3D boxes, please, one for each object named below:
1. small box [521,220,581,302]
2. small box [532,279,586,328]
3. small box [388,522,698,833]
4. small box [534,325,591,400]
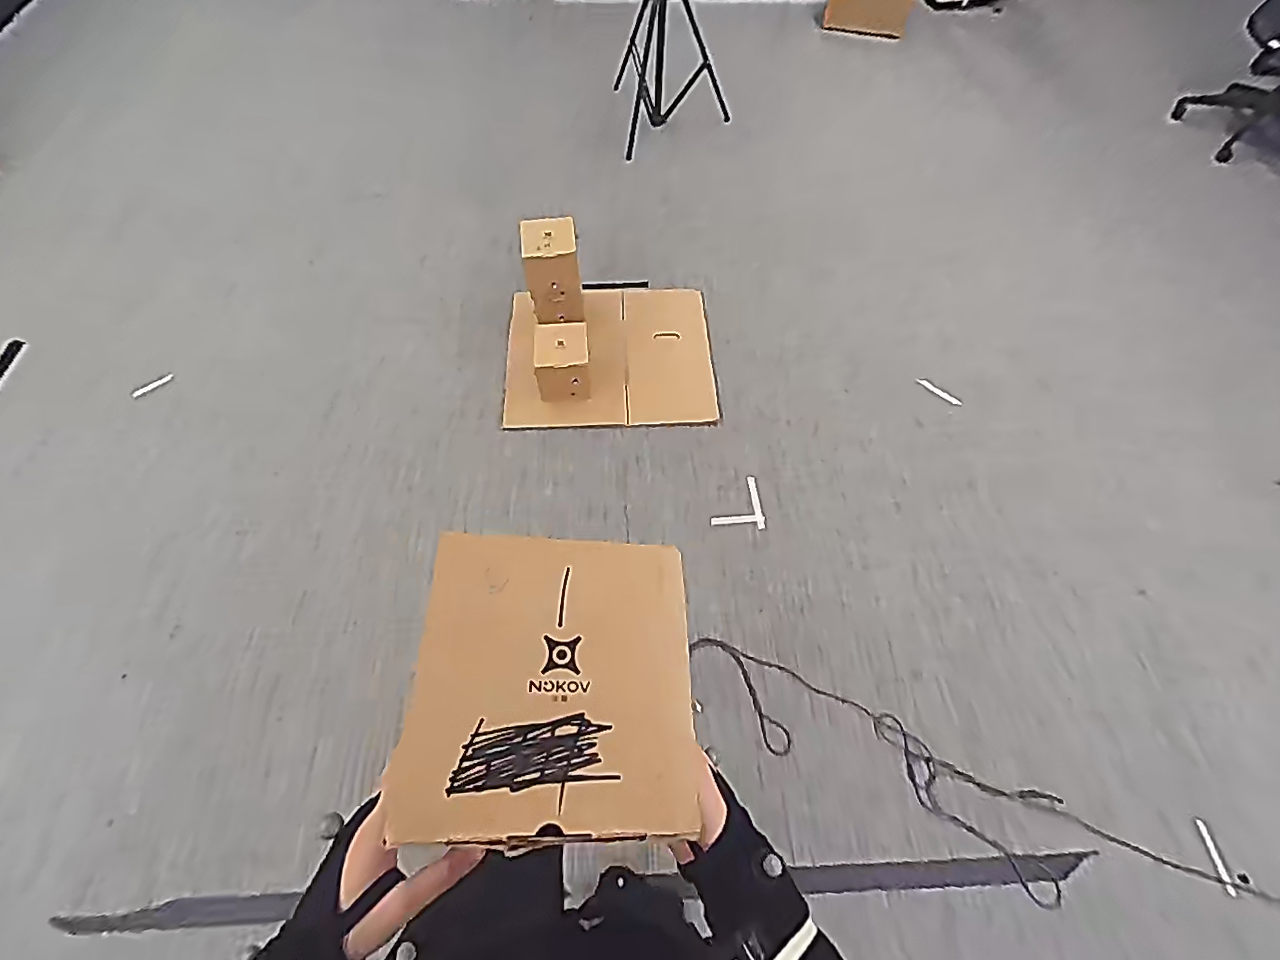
[{"bbox_3d":[-0.284,-0.696,1.725,0.168,0.176,0.179,-8,61,-4],"label":"small box"},{"bbox_3d":[-0.281,-0.615,1.868,0.168,0.176,0.179,-9,62,-6],"label":"small box"},{"bbox_3d":[-0.062,0.151,0.393,0.168,0.176,0.179,5,56,-10],"label":"small box"},{"bbox_3d":[-0.246,-0.369,1.732,0.168,0.176,0.179,-4,60,-4],"label":"small box"}]
